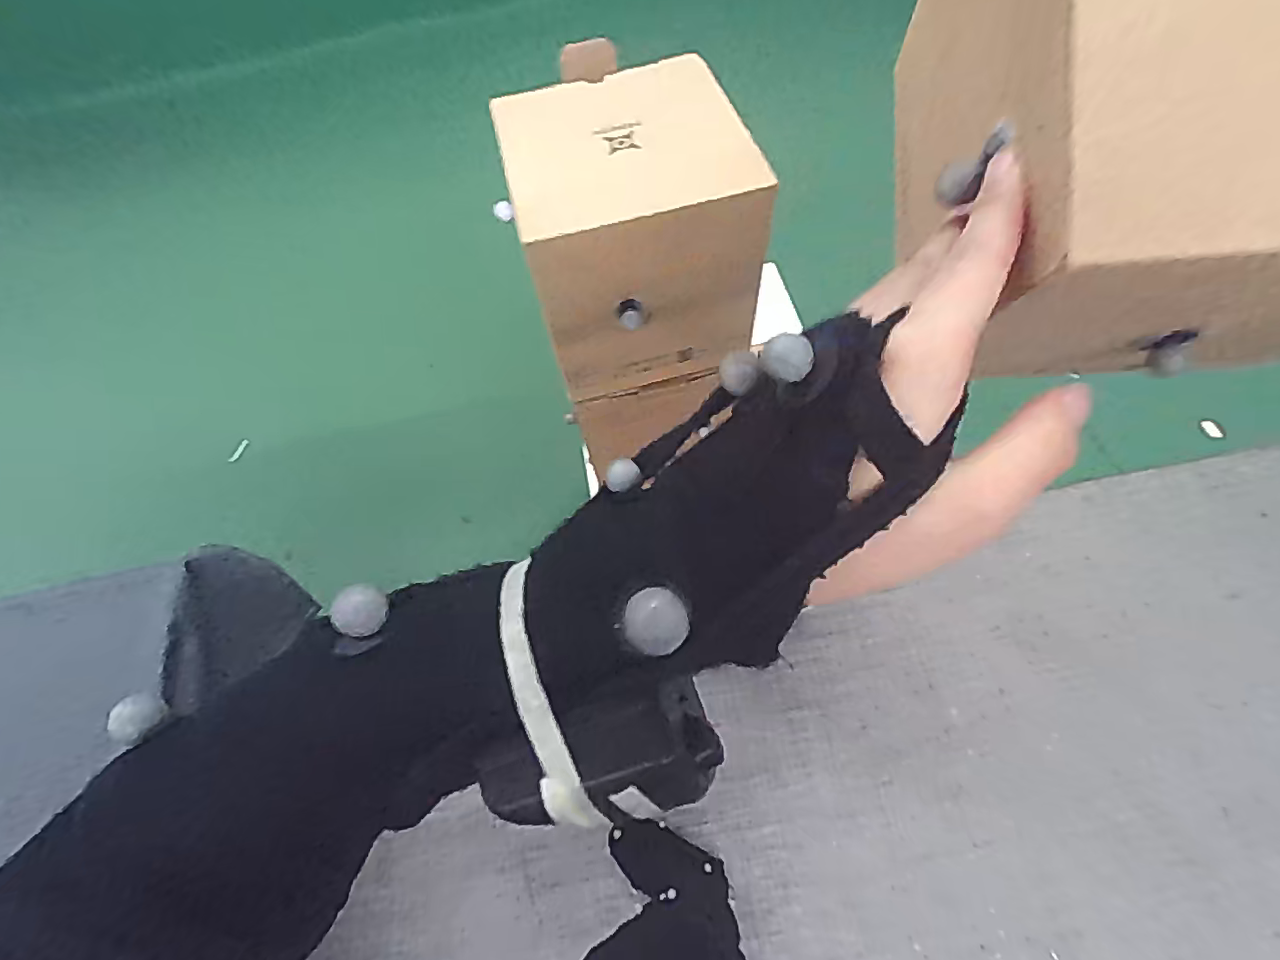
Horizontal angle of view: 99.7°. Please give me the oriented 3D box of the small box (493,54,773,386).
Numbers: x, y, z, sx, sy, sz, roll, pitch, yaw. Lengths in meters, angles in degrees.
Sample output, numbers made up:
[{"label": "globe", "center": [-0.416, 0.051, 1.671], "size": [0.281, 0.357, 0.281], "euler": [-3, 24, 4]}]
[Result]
[{"label": "small box", "center": [-0.006, -0.197, 0.443], "size": [0.168, 0.176, 0.179], "euler": [-14, 62, -3]}]

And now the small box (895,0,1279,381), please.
[{"label": "small box", "center": [0.211, -0.137, 0.214], "size": [0.168, 0.176, 0.179], "euler": [0, 89, 11]}]

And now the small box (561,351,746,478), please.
[{"label": "small box", "center": [0.006, -0.118, 0.584], "size": [0.168, 0.176, 0.179], "euler": [-13, 61, -3]}]
